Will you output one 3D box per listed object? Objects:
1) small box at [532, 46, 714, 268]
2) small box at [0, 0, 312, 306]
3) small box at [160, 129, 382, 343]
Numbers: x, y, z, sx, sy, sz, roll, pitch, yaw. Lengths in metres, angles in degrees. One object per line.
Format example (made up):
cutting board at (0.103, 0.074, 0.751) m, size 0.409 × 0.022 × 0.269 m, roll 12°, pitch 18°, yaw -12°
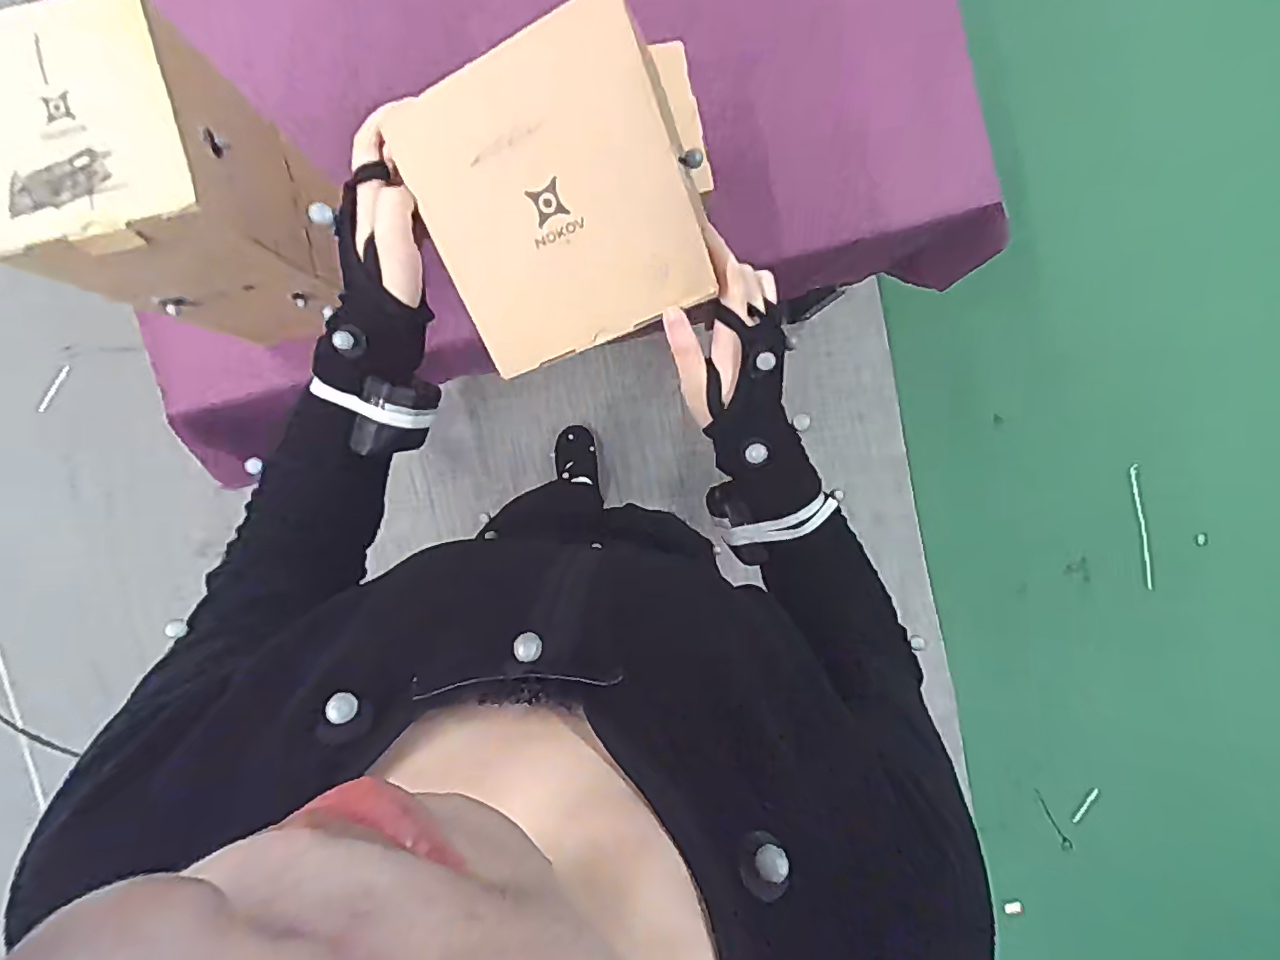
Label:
small box at (-0.021, -0.383, 0.674) m, size 0.179 × 0.176 × 0.168 m, roll -13°, pitch 94°, yaw -3°
small box at (-0.437, -0.273, 0.491) m, size 0.168 × 0.176 × 0.179 m, roll -15°, pitch 92°, yaw -4°
small box at (-0.448, -0.277, 0.655) m, size 0.179 × 0.176 × 0.168 m, roll -15°, pitch 93°, yaw -4°
